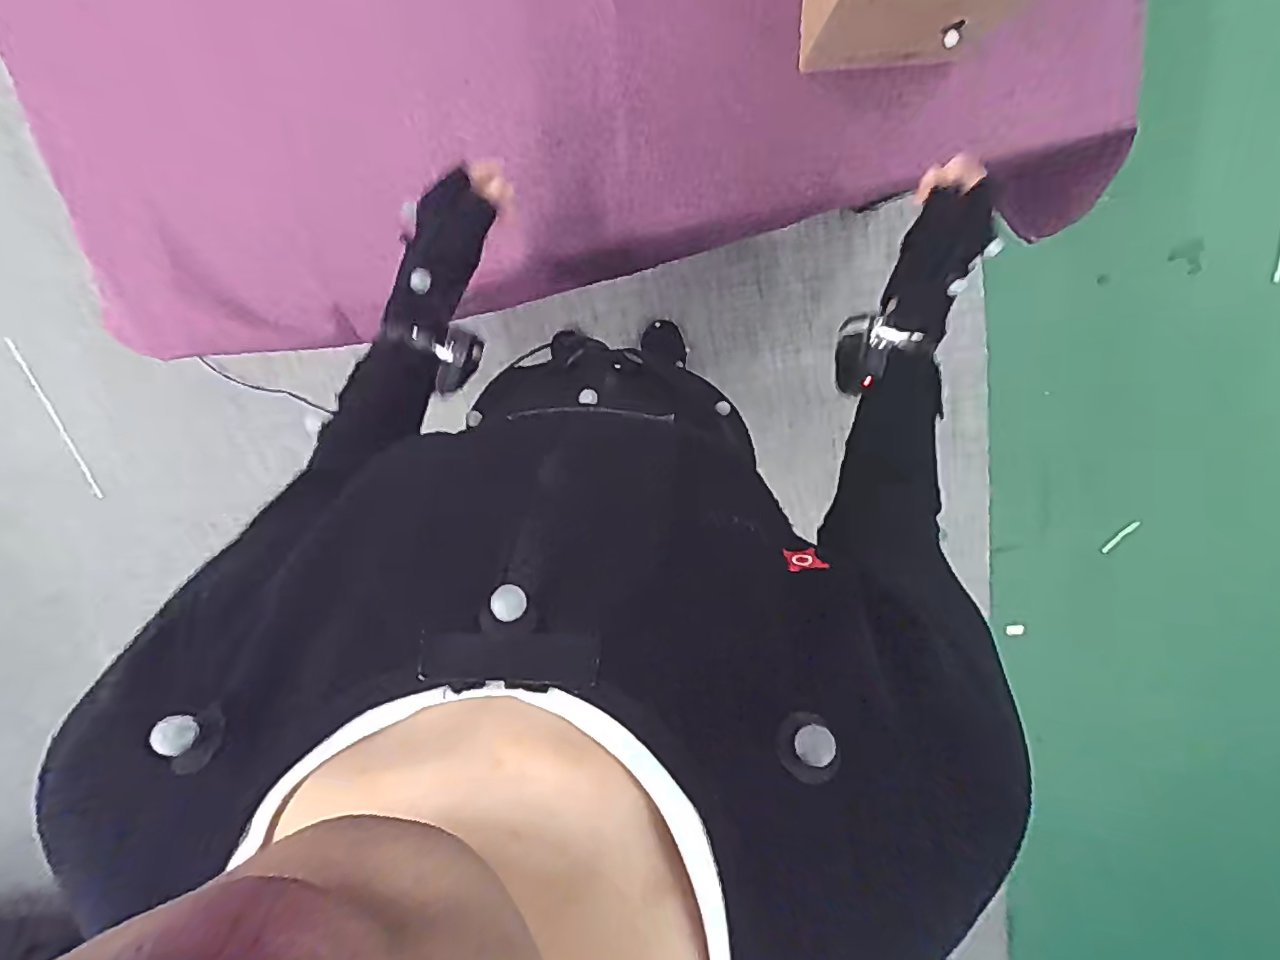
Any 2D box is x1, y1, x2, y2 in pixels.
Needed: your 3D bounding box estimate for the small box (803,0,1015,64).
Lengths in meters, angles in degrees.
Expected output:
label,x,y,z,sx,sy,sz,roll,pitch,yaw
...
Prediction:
label,x,y,z,sx,sy,sz,roll,pitch,yaw
small box,0.244,-0.490,0.467,0.168,0.176,0.179,-1,108,3
